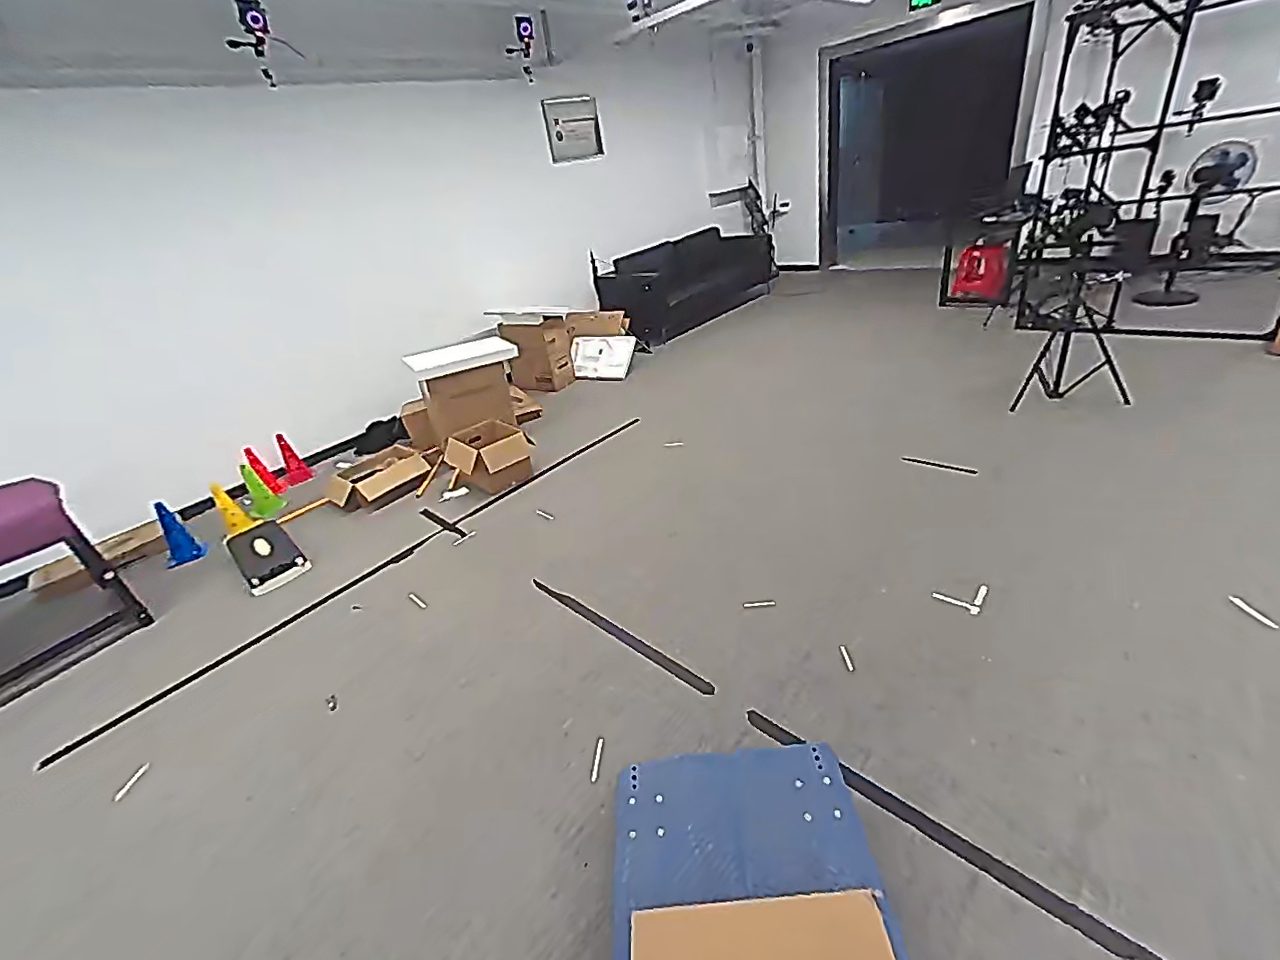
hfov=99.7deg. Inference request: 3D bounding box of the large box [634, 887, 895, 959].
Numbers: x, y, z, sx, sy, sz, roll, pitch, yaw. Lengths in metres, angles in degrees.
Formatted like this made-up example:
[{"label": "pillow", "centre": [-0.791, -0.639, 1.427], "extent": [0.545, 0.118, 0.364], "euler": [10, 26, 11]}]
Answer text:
[{"label": "large box", "centre": [0.211, 0.907, 0.842], "extent": [0.408, 0.320, 0.320], "euler": [-8, 29, 3]}]
